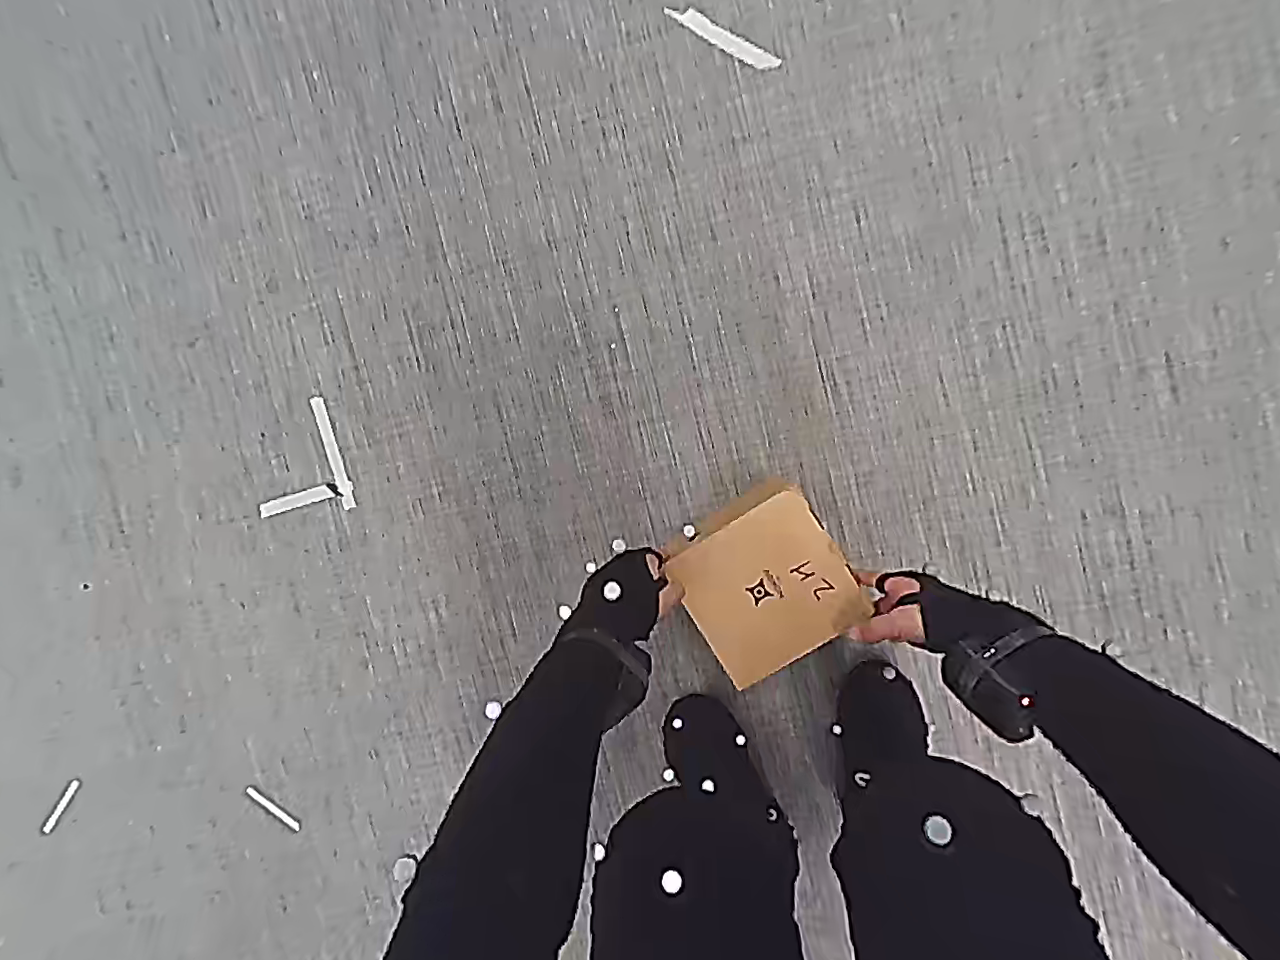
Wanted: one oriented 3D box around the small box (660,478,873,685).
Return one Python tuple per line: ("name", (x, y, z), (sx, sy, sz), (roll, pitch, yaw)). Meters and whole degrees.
("small box", (0.144, 0.111, 0.665), (0.179, 0.176, 0.168), (-33, 90, 6))
